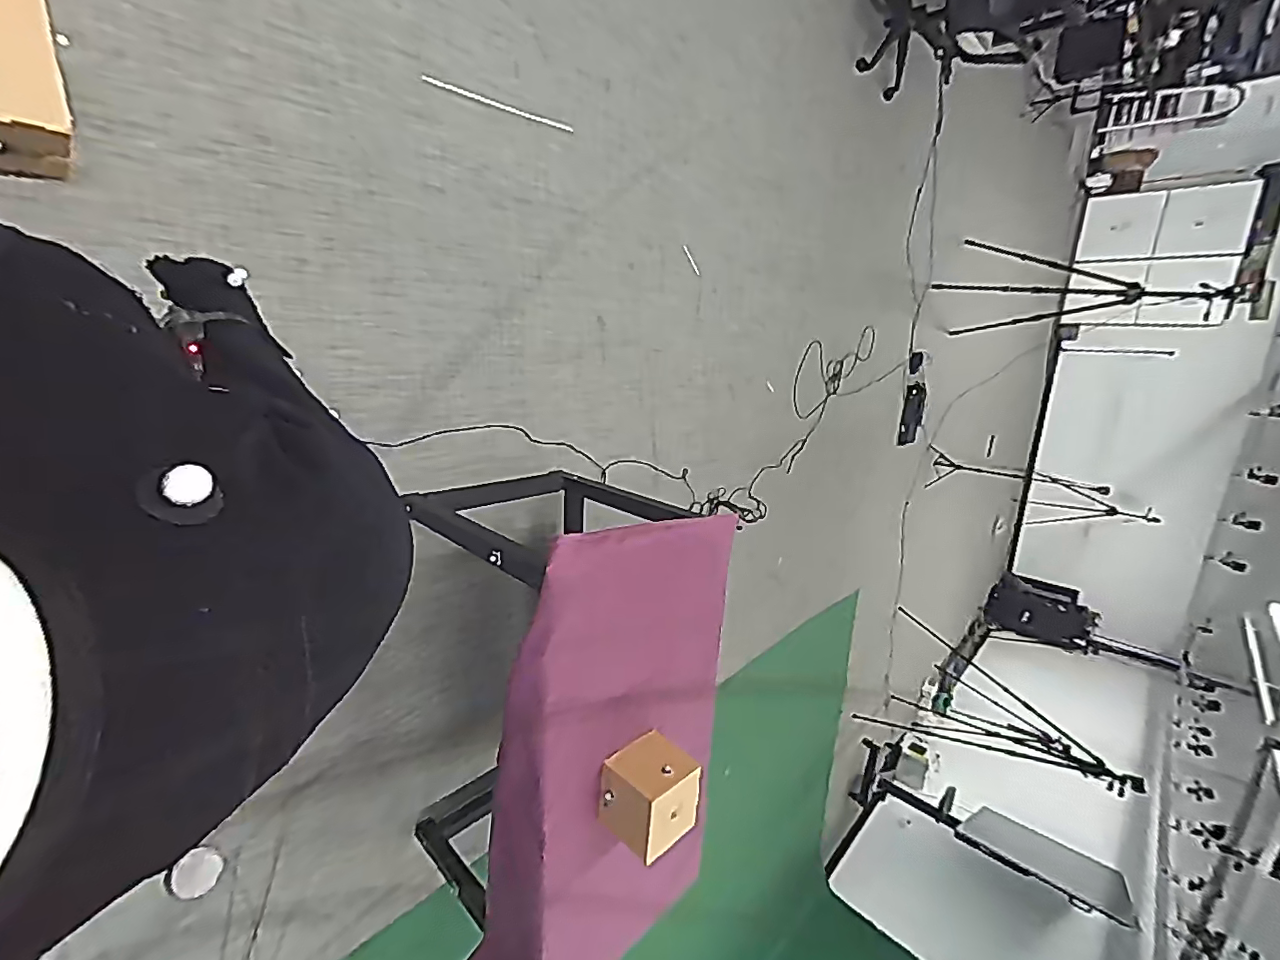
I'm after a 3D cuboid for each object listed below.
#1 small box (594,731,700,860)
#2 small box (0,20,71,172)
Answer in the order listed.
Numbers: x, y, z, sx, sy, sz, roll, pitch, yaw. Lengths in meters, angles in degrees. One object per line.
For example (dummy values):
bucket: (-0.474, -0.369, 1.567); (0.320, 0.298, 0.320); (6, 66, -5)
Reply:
small box: (0.016, 0.732, 1.281); (0.179, 0.176, 0.168); (-5, 105, -46)
small box: (-1.026, -0.604, 0.847); (0.168, 0.176, 0.179); (-14, 111, -44)
